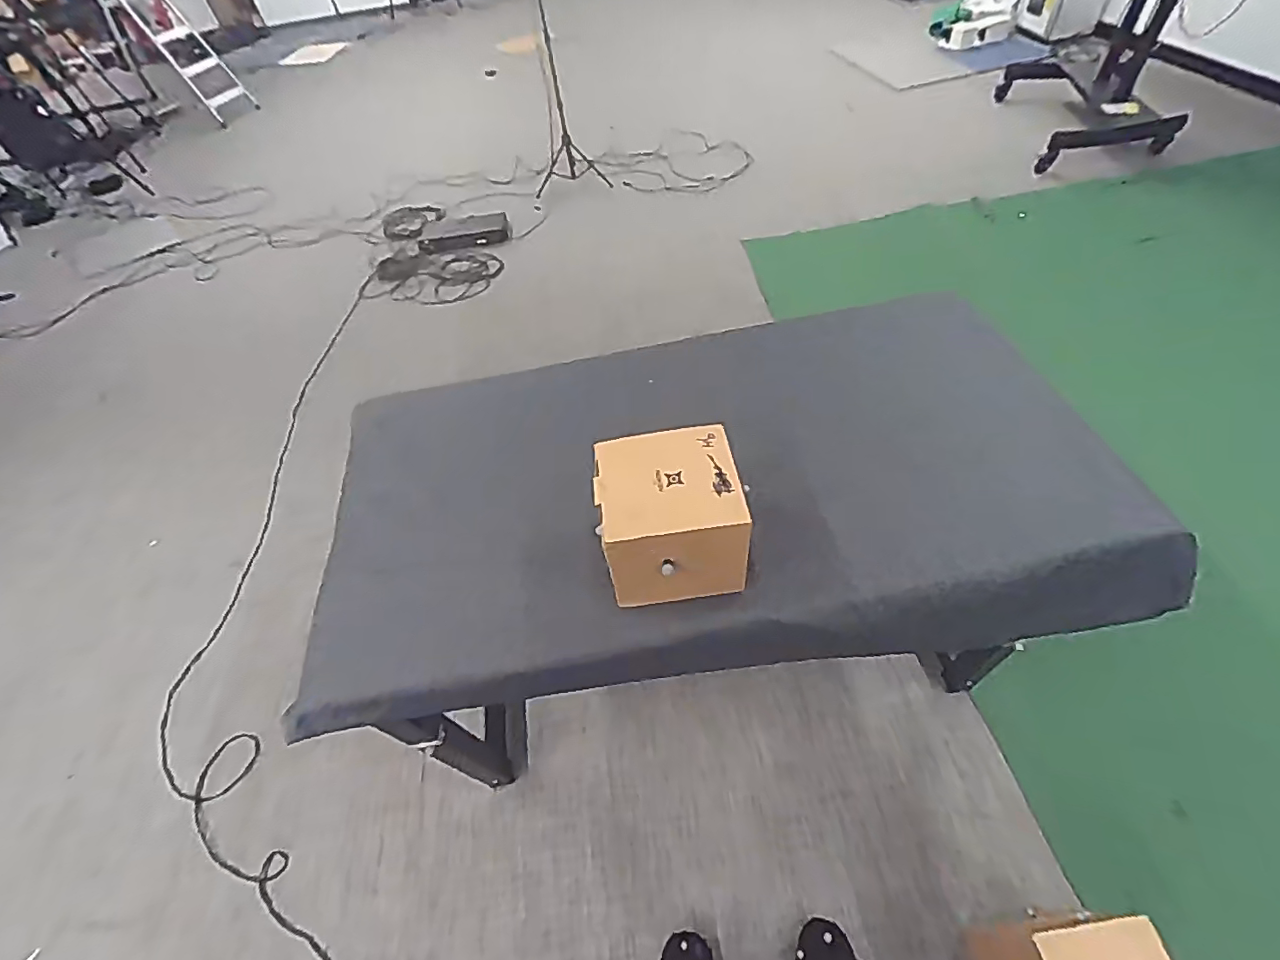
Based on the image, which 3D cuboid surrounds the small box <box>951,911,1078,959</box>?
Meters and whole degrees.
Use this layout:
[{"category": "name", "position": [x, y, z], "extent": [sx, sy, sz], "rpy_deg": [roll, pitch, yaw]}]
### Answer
[{"category": "small box", "position": [0.690, 0.872, 0.945], "extent": [0.179, 0.176, 0.168], "rpy_deg": [-11, 51, 0]}]

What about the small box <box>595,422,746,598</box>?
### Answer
[{"category": "small box", "position": [0.040, 0.046, 0.736], "extent": [0.179, 0.176, 0.168], "rpy_deg": [-8, 51, 1]}]

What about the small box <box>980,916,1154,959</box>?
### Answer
[{"category": "small box", "position": [0.663, 0.773, 0.816], "extent": [0.179, 0.176, 0.168], "rpy_deg": [-9, 50, 1]}]
